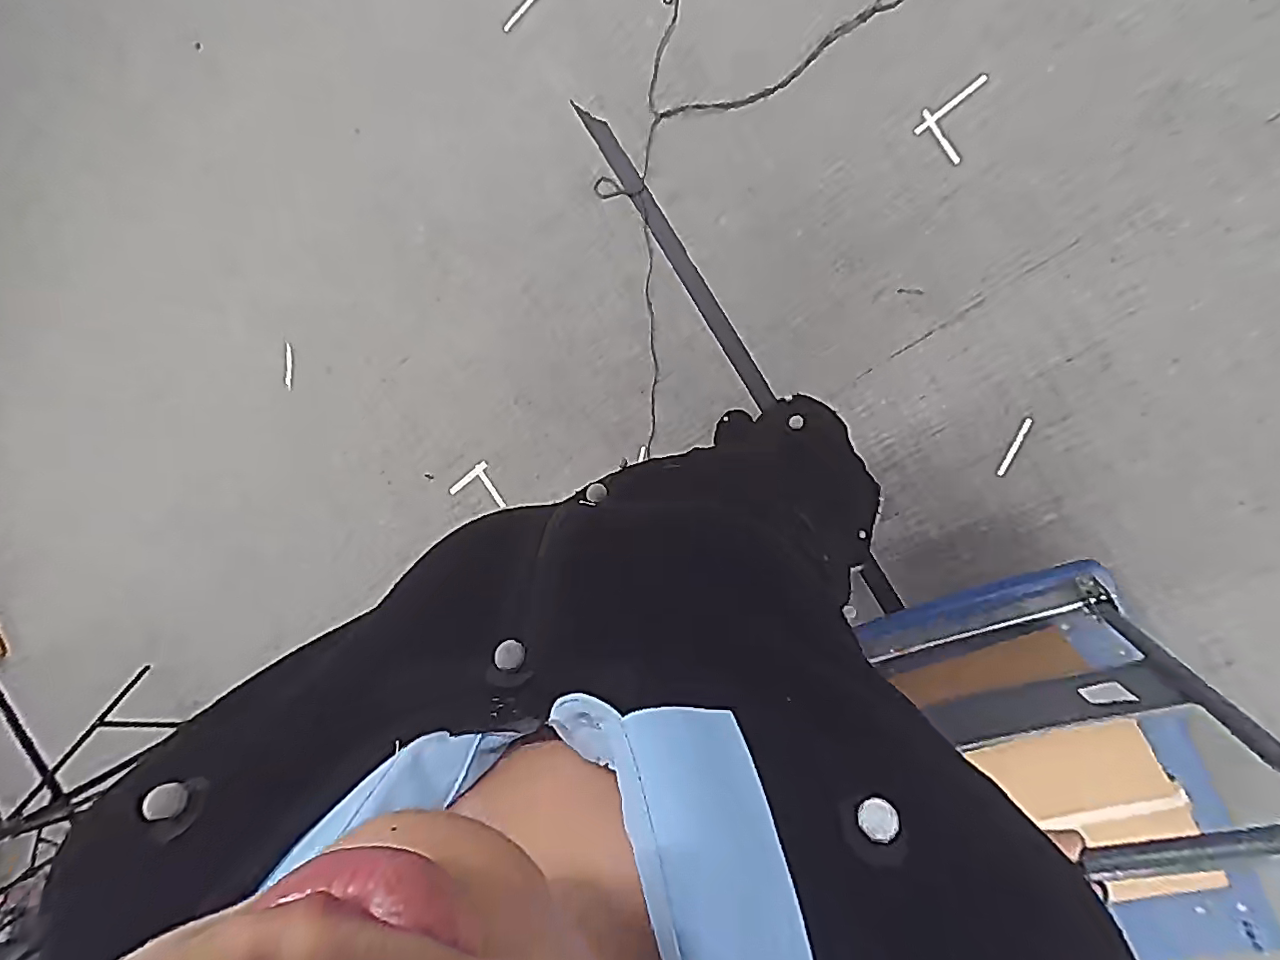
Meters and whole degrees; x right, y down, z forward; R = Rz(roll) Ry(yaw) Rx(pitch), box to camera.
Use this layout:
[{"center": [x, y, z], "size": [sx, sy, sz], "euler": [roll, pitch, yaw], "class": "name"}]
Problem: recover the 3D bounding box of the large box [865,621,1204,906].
[{"center": [0.712, 0.538, 1.064], "size": [0.408, 0.320, 0.320], "euler": [-30, 89, 23], "class": "large box"}]
